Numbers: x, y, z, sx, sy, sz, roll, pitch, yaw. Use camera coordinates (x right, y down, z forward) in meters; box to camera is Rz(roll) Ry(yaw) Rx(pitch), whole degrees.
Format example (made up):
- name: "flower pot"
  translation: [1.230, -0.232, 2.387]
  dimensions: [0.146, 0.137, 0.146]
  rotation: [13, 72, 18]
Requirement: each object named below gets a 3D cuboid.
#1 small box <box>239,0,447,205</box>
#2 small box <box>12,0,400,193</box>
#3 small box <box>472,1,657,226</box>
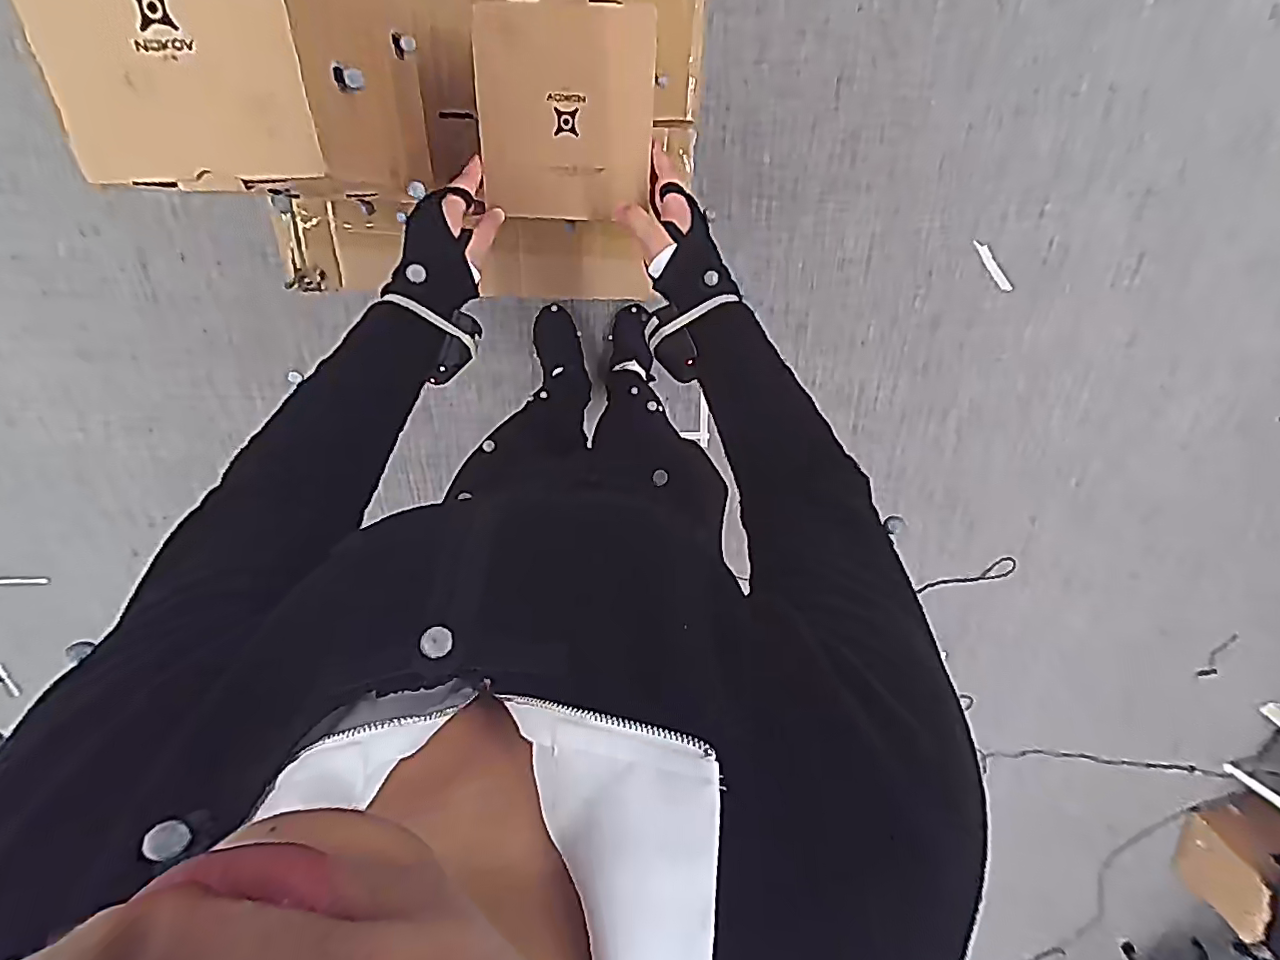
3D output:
- name: "small box"
  translation: [-0.313, -0.388, 0.561]
  dimensions: [0.168, 0.176, 0.179]
  rotation: [-1, 116, -3]
- name: "small box"
  translation: [-0.305, -0.319, 0.412]
  dimensions: [0.168, 0.176, 0.179]
  rotation: [-3, 116, -2]
- name: "small box"
  translation: [-0.070, -0.374, 0.582]
  dimensions: [0.168, 0.176, 0.179]
  rotation: [1, 118, -1]
